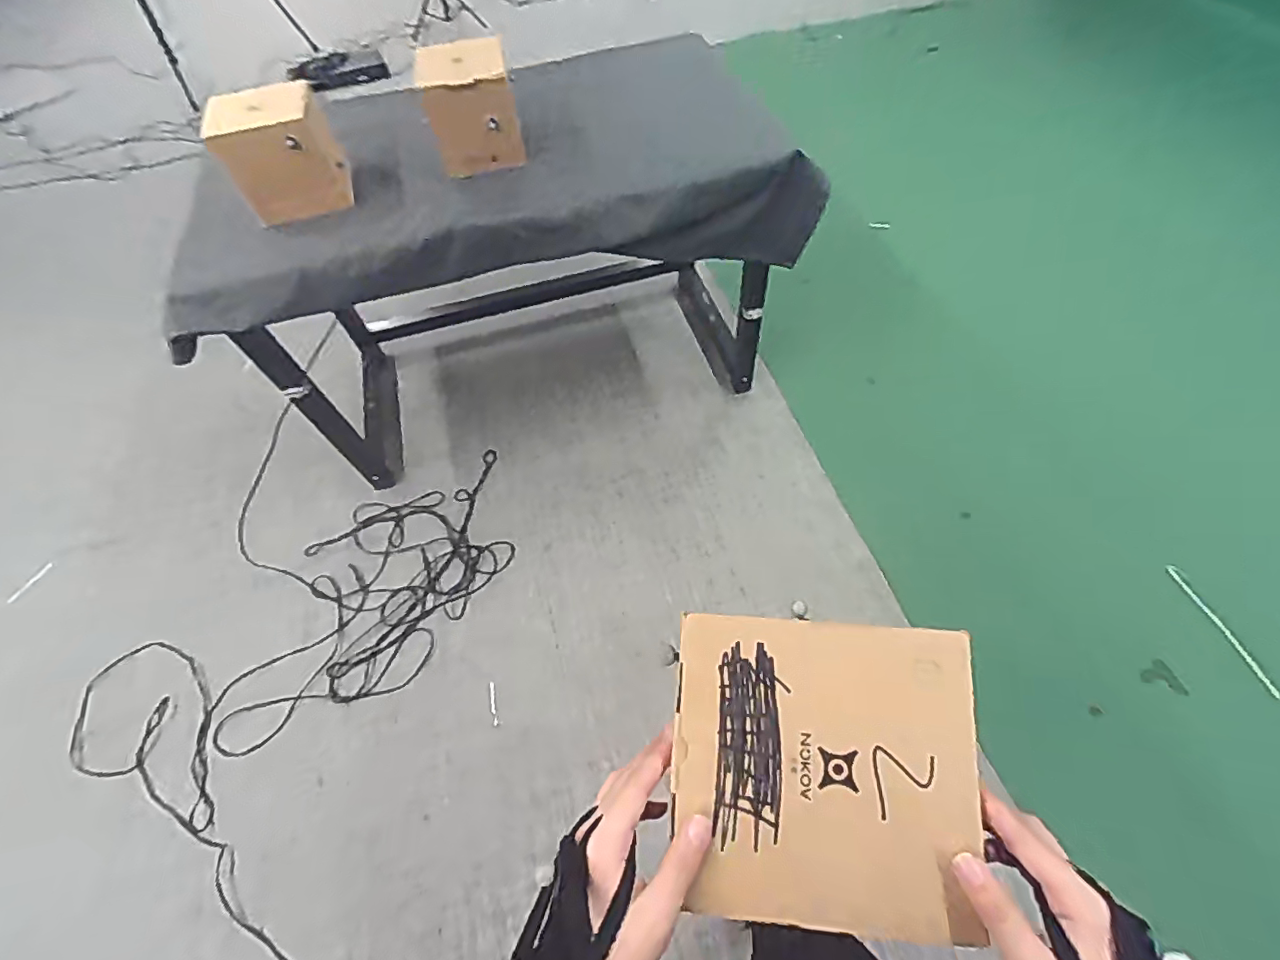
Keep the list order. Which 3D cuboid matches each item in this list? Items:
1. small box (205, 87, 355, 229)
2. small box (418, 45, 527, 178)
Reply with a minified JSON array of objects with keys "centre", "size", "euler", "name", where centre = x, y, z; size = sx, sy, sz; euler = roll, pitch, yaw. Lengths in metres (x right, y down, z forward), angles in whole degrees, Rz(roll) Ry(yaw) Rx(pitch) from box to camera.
[{"centre":[-0.675,-0.611,1.036],"size":[0.179,0.176,0.168],"euler":[-17,58,-7],"name":"small box"},{"centre":[-0.331,-0.729,1.085],"size":[0.168,0.176,0.179],"euler":[-12,57,-5],"name":"small box"}]
